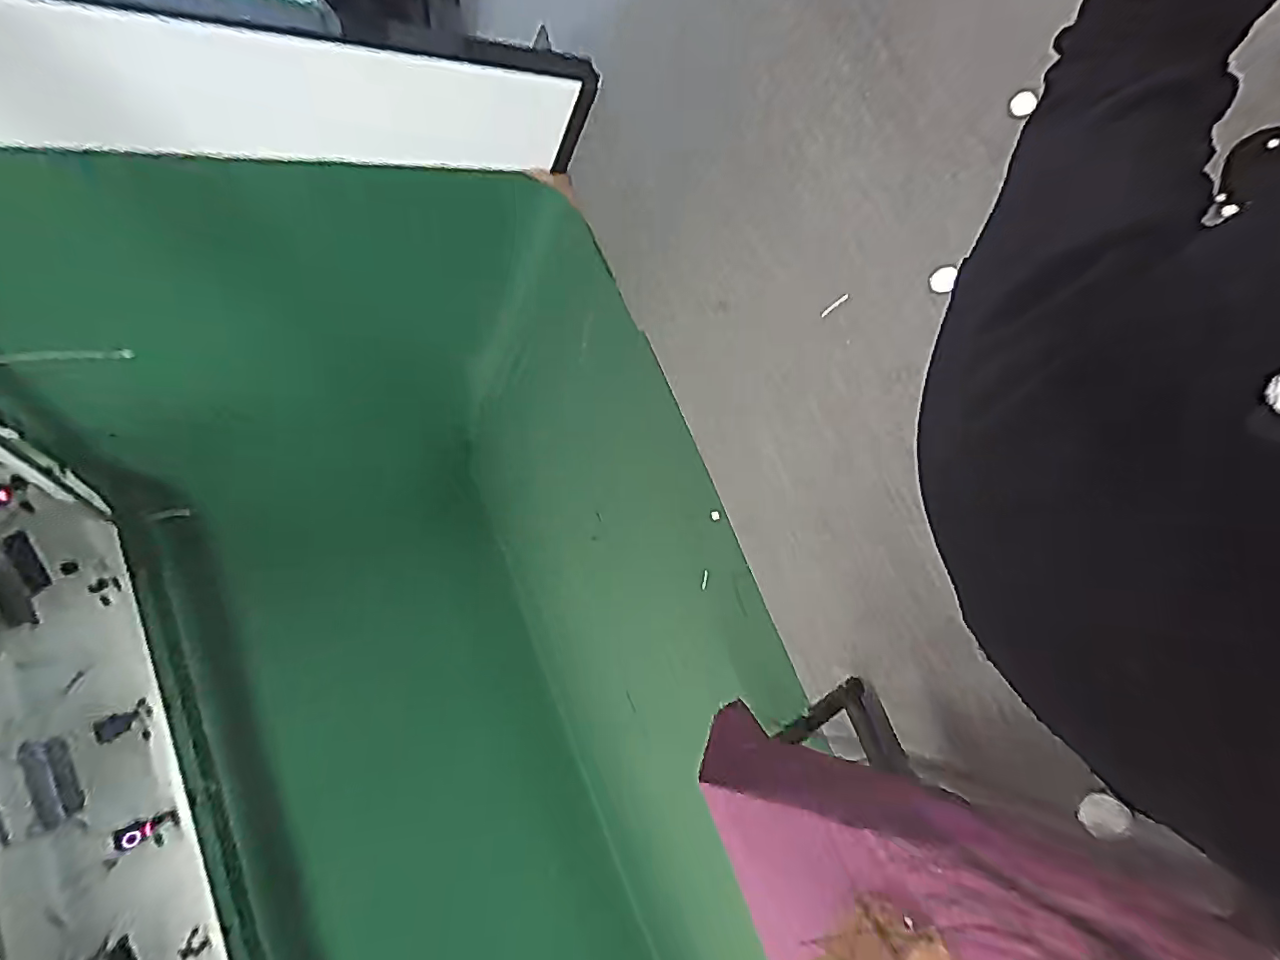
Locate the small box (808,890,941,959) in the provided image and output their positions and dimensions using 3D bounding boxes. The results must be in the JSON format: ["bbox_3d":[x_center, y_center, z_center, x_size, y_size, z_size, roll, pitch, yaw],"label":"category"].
[{"bbox_3d":[0.463,0.942,1.033,0.168,0.176,0.179,-30,80,57],"label":"small box"}]
